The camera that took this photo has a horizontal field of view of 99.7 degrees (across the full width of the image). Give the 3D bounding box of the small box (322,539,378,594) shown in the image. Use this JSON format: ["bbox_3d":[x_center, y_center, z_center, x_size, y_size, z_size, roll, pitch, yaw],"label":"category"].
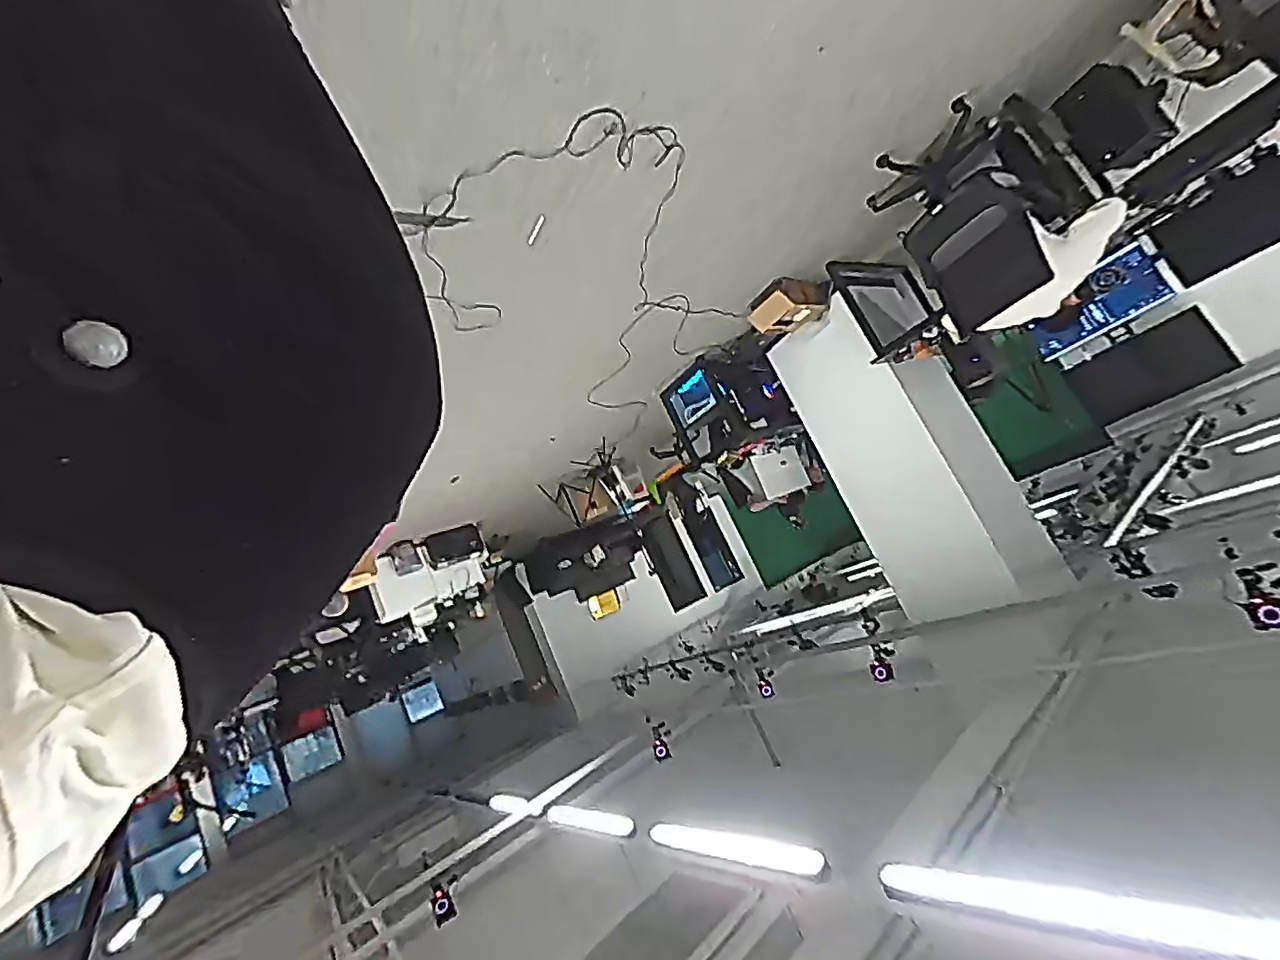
[{"bbox_3d":[-1.237,0.363,2.301,0.168,0.176,0.179,-16,168,-37],"label":"small box"}]
